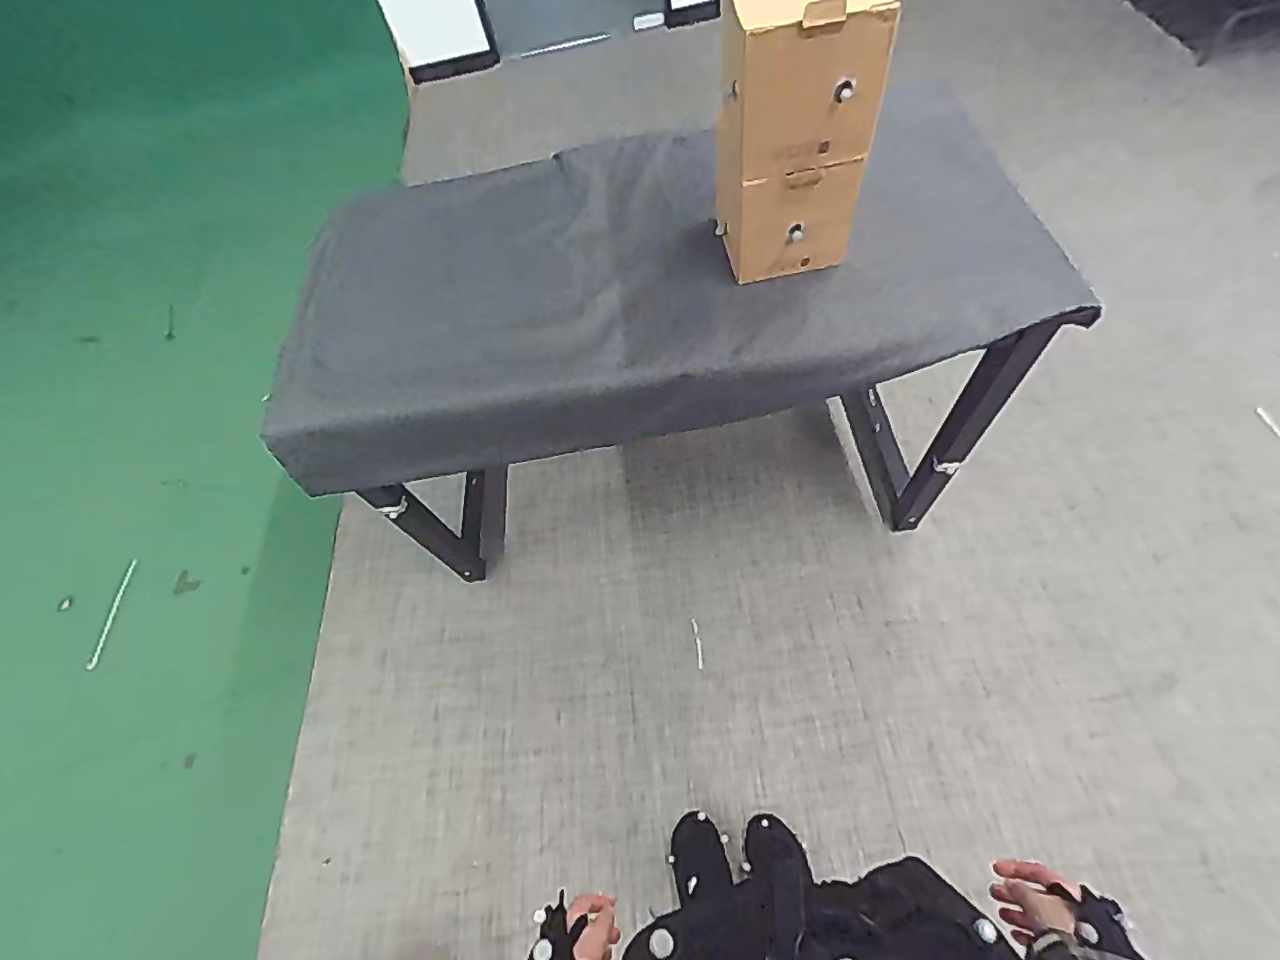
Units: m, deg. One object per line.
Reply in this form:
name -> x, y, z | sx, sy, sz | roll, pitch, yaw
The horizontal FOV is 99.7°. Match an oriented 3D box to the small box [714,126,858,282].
small box -> 0.211, -0.426, 0.825 | 0.168, 0.176, 0.179 | -10, 59, 3

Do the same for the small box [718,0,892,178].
small box -> 0.193, -0.508, 0.686 | 0.168, 0.176, 0.179 | -7, 58, 4
